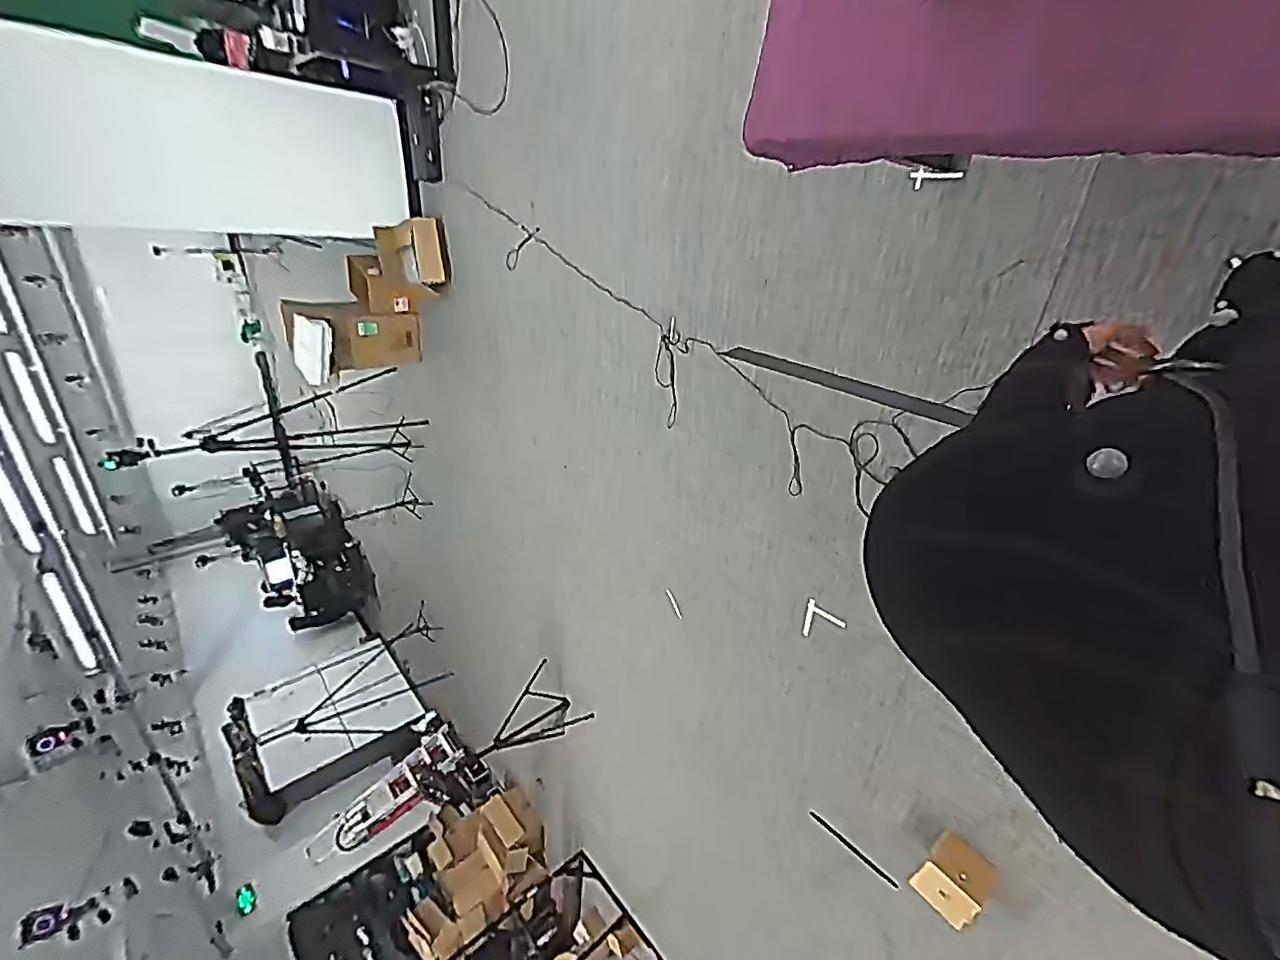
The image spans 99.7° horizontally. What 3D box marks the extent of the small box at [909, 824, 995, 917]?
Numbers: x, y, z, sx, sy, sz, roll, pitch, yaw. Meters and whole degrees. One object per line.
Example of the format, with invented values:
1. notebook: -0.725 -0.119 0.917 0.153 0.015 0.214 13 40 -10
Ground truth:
1. small box: 1.063 1.317 1.842 0.179 0.176 0.168 36 130 35
